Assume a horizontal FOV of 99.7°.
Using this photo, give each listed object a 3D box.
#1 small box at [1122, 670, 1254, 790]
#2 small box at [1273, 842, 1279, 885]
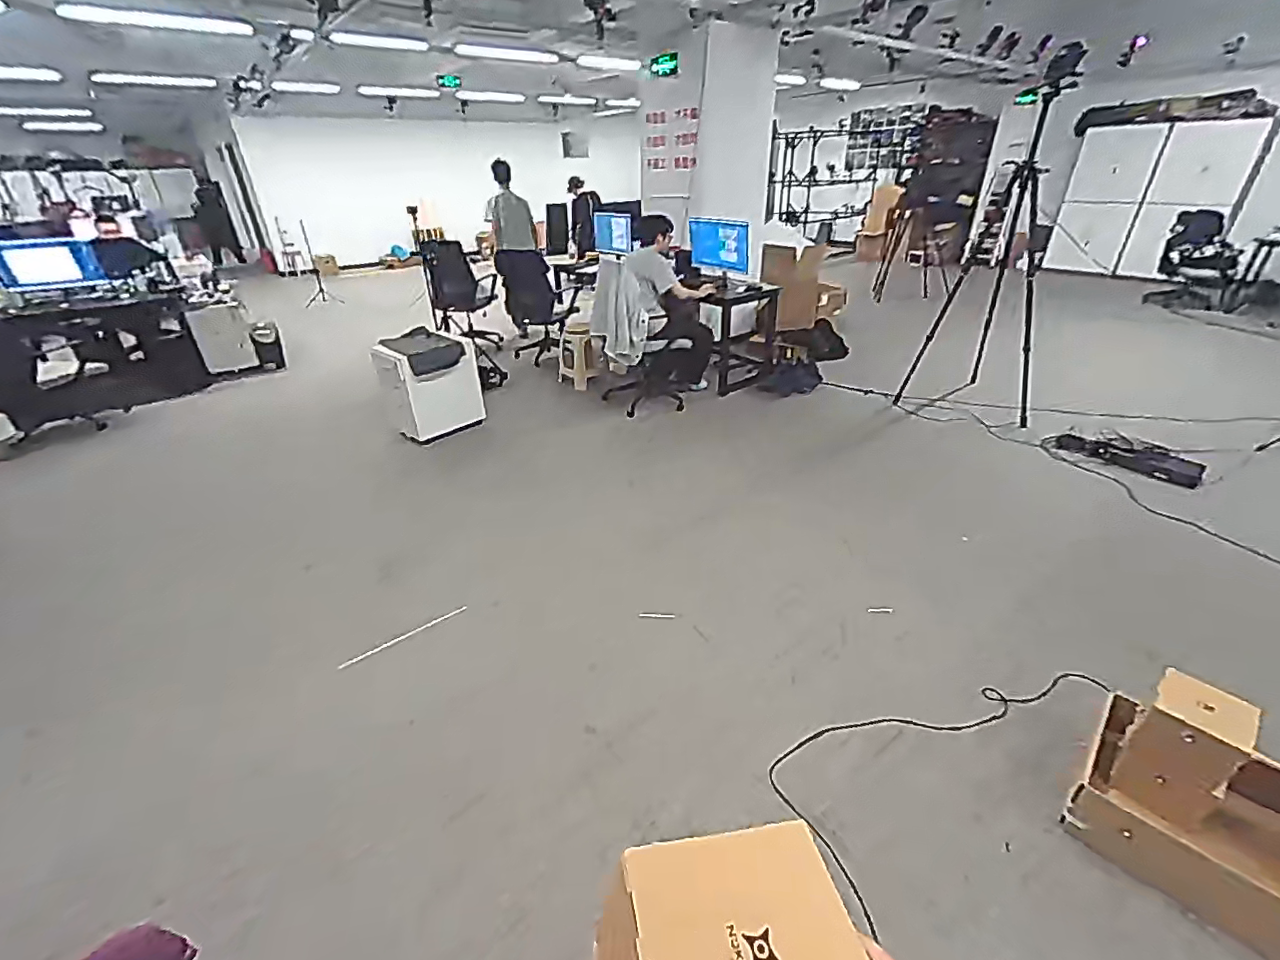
[{"bbox_3d":[1.354,0.620,1.345,0.168,0.176,0.179,-27,39,-33],"label":"small box"},{"bbox_3d":[1.593,0.876,1.215,0.168,0.176,0.179,-26,37,-34],"label":"small box"}]
